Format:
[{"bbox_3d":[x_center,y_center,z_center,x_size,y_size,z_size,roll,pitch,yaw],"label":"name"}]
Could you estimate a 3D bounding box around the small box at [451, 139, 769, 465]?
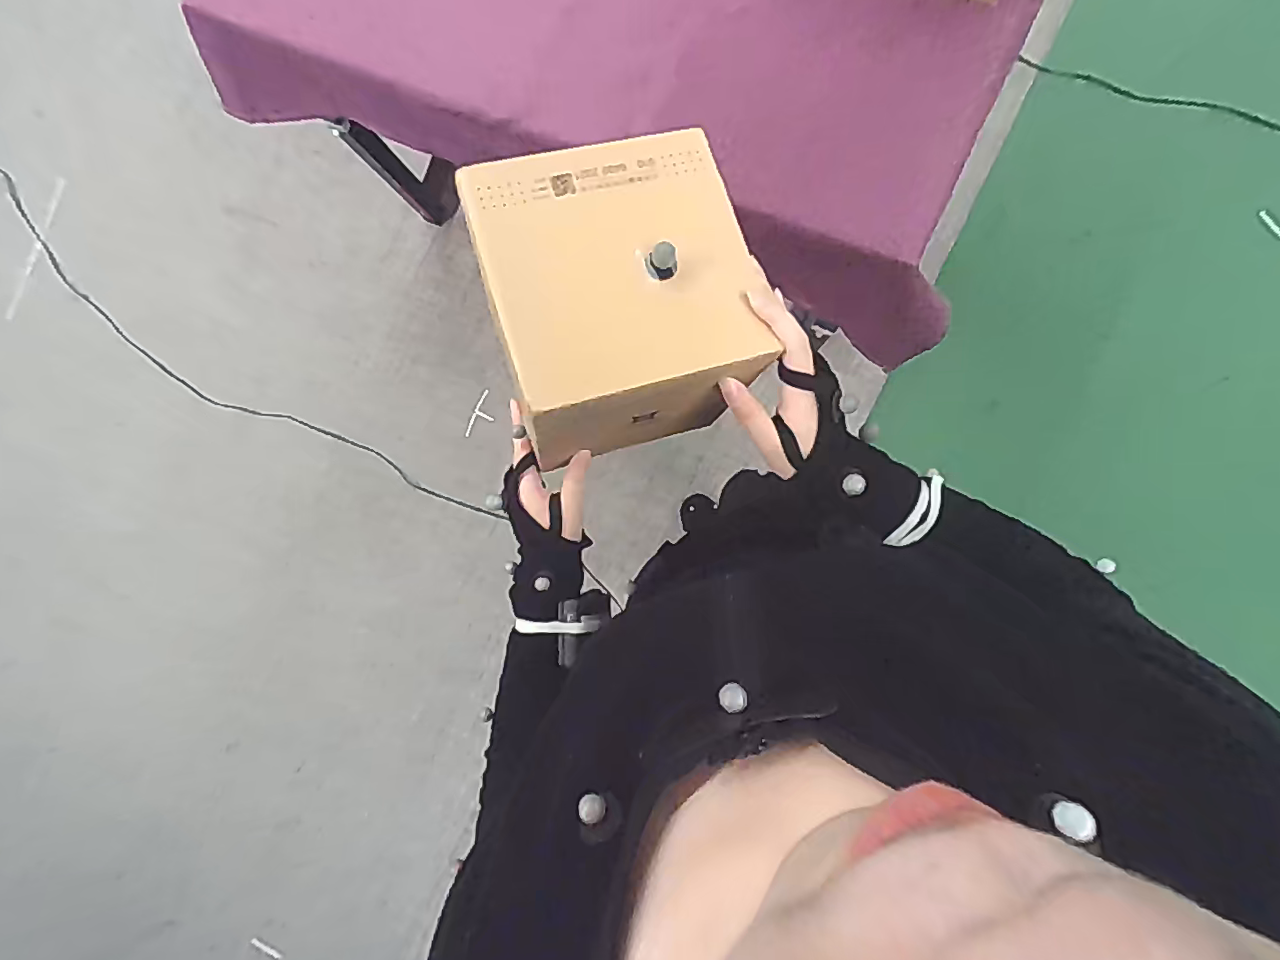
[{"bbox_3d":[-0.031,-0.128,0.416,0.168,0.179,0.176,-17,83,-11],"label":"small box"}]
